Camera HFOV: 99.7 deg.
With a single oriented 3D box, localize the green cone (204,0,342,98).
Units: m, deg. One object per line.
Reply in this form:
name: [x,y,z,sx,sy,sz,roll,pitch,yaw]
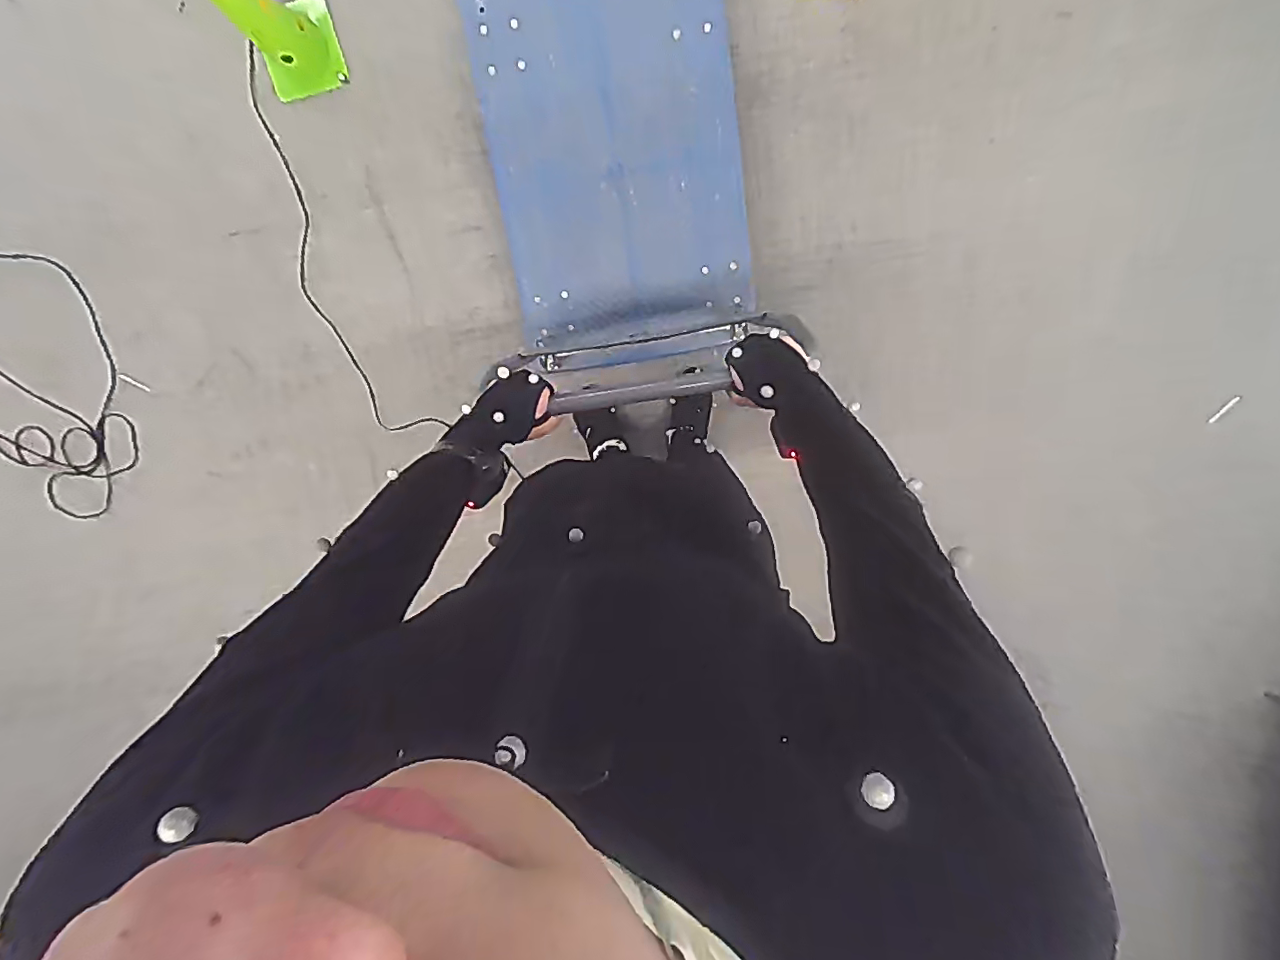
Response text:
green cone: [-0.880,-1.052,1.196,0.202,0.368,0.200,-13,104,7]
